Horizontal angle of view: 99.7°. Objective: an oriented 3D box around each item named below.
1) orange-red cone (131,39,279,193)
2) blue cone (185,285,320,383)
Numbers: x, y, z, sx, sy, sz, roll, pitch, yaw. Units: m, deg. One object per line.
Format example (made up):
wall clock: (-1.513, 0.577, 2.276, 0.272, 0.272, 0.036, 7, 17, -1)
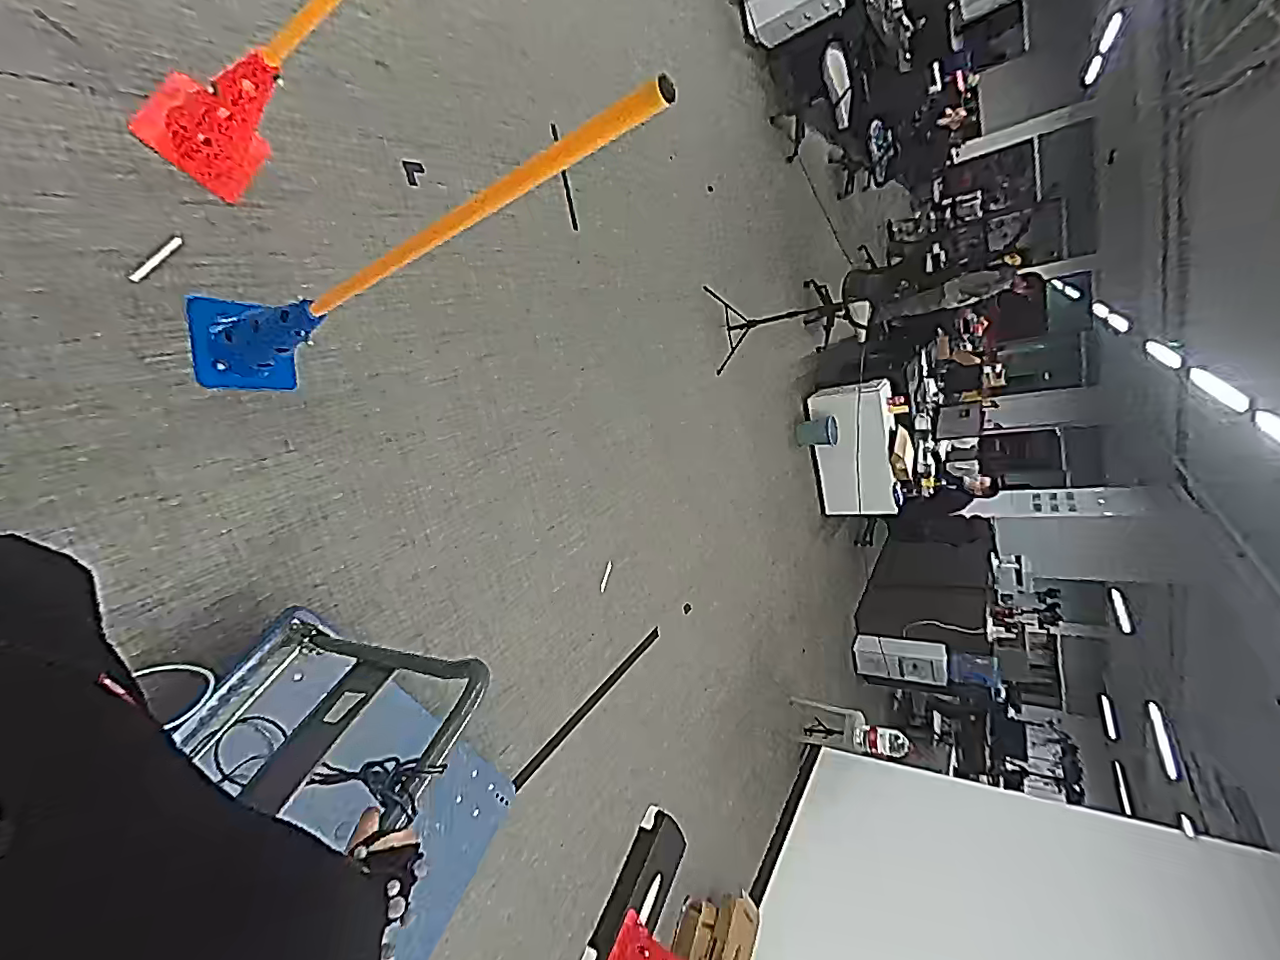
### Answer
orange-red cone: (-0.812, -0.766, 1.079, 0.198, 0.360, 0.199, 40, 57, -45)
blue cone: (-0.768, -0.328, 1.127, 0.193, 0.380, 0.192, -6, 91, -55)
